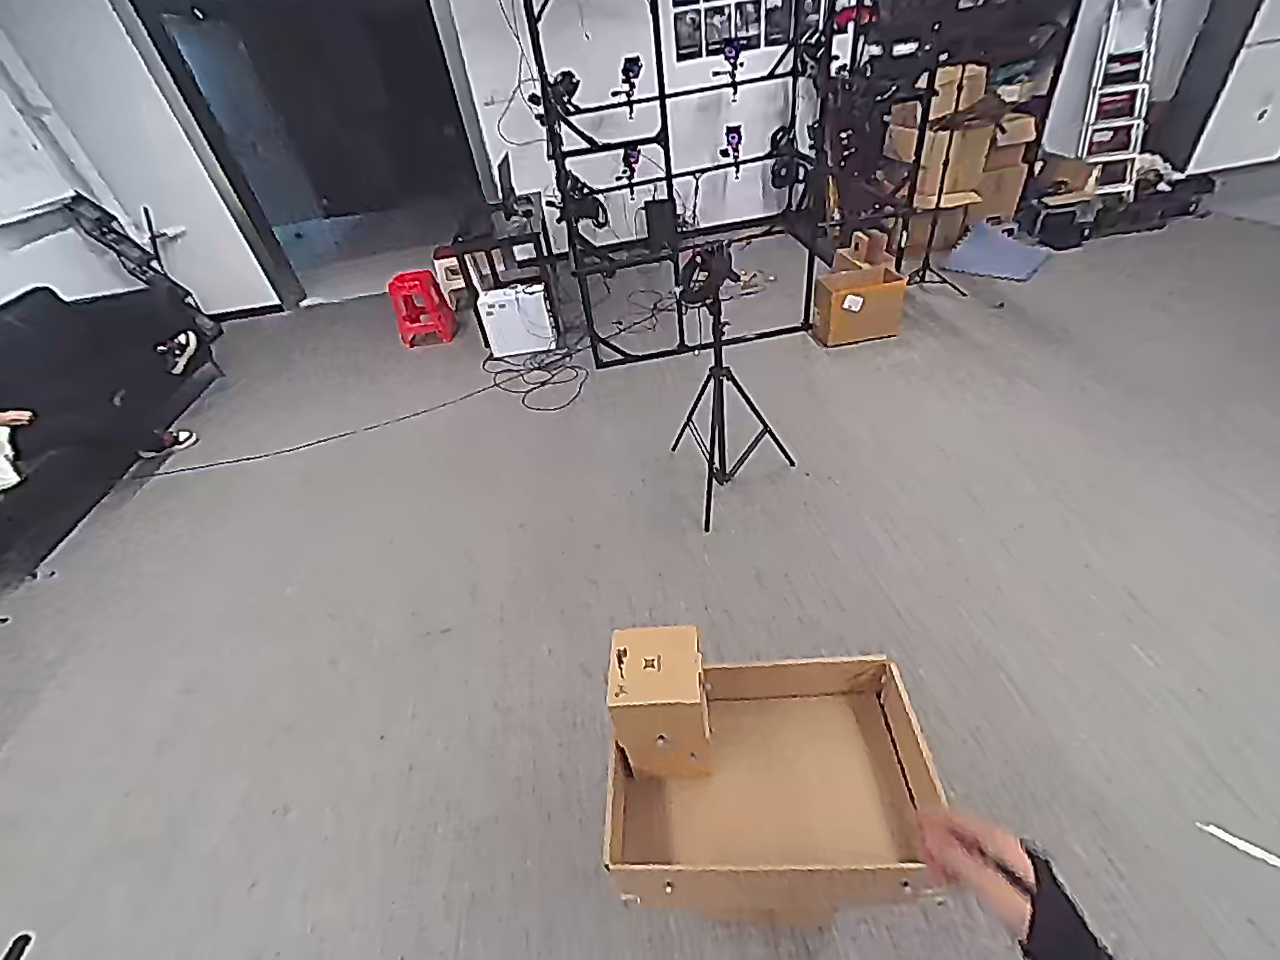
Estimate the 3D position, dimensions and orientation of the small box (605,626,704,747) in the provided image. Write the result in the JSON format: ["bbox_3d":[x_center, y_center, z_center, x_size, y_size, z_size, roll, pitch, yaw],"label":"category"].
[{"bbox_3d":[0.037,0.409,1.071,0.179,0.176,0.168,-4,39,6],"label":"small box"}]
